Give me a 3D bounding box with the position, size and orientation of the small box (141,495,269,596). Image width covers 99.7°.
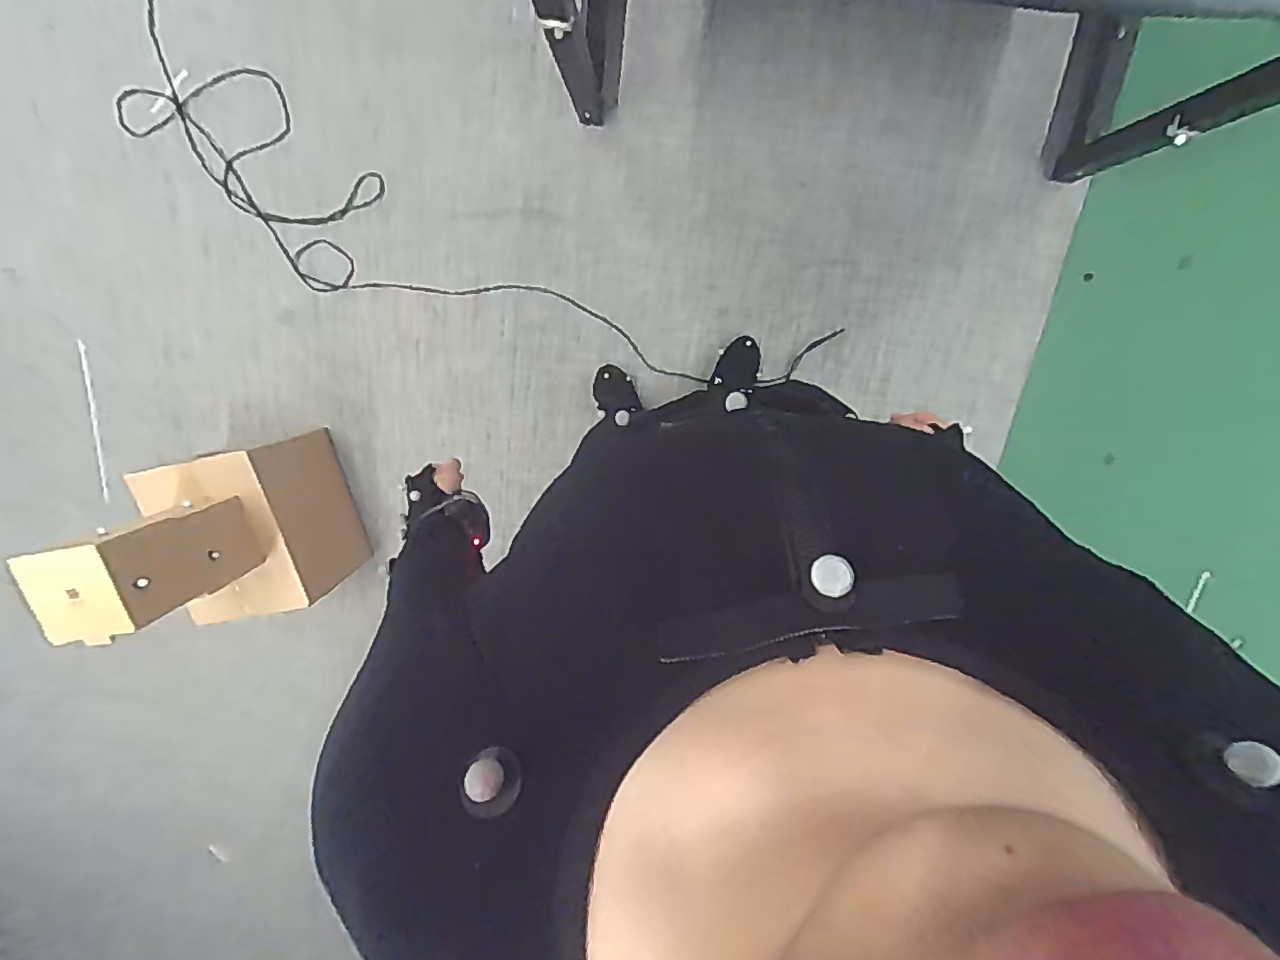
[{"bbox_3d":[-0.975,0.150,1.201,0.168,0.176,0.179,-10,104,4],"label":"small box"}]

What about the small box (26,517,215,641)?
[{"bbox_3d":[-0.983,0.180,1.041,0.168,0.176,0.179,-10,105,4],"label":"small box"}]
